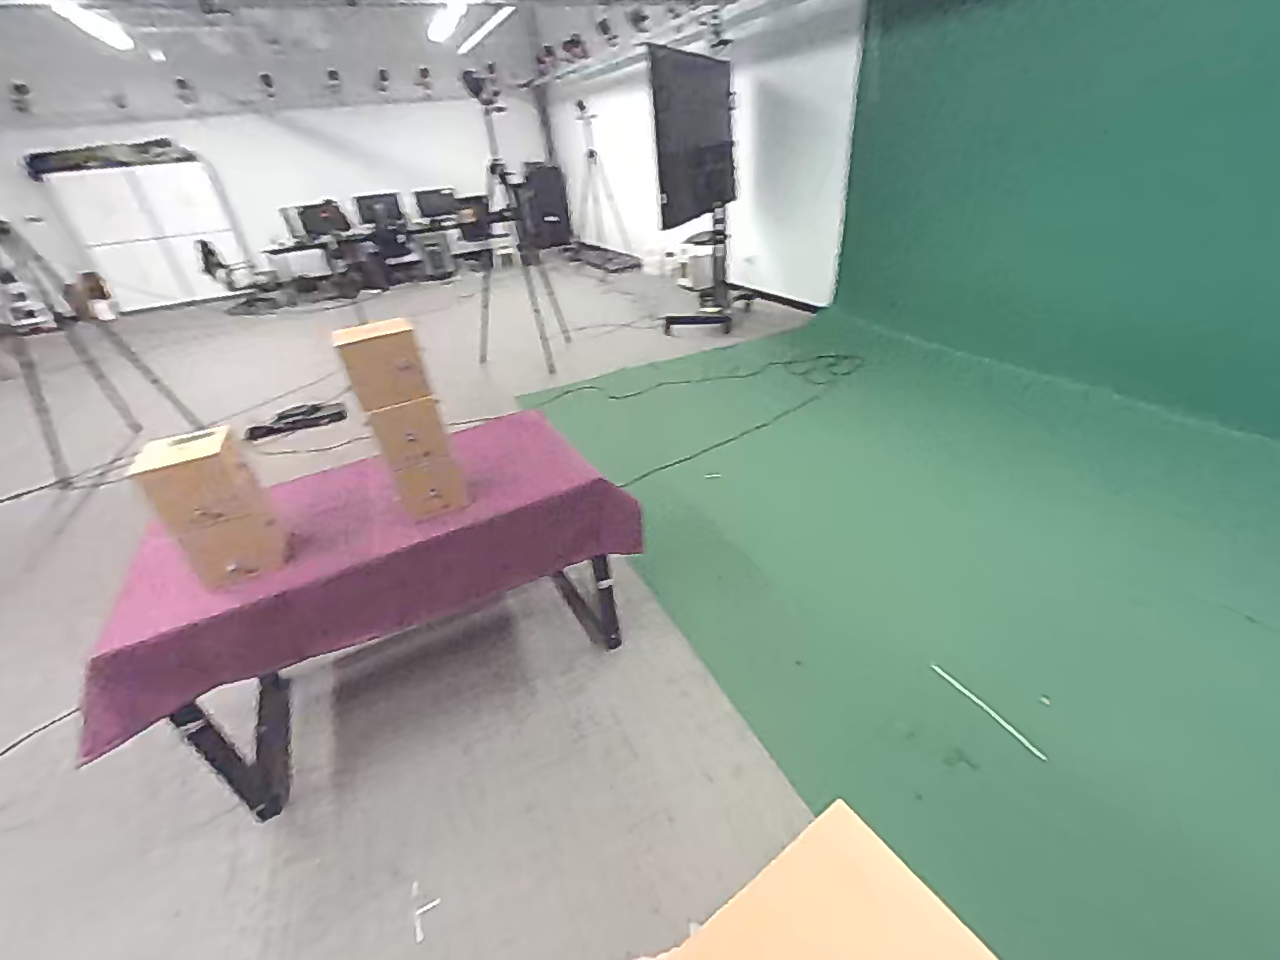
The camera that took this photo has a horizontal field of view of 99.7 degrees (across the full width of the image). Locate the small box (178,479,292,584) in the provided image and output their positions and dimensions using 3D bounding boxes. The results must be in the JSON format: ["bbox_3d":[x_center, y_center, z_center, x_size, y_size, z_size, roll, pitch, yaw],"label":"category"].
[{"bbox_3d":[-0.994,0.127,1.347,0.168,0.176,0.179,-19,35,-19],"label":"small box"}]

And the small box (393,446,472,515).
[{"bbox_3d":[-0.583,-0.020,1.511,0.168,0.176,0.179,-19,35,-20],"label":"small box"}]

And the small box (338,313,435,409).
[{"bbox_3d":[-0.622,-0.296,1.338,0.179,0.176,0.168,-21,34,-20],"label":"small box"}]

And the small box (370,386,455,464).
[{"bbox_3d":[-0.602,-0.158,1.422,0.168,0.176,0.179,-19,34,-21],"label":"small box"}]
